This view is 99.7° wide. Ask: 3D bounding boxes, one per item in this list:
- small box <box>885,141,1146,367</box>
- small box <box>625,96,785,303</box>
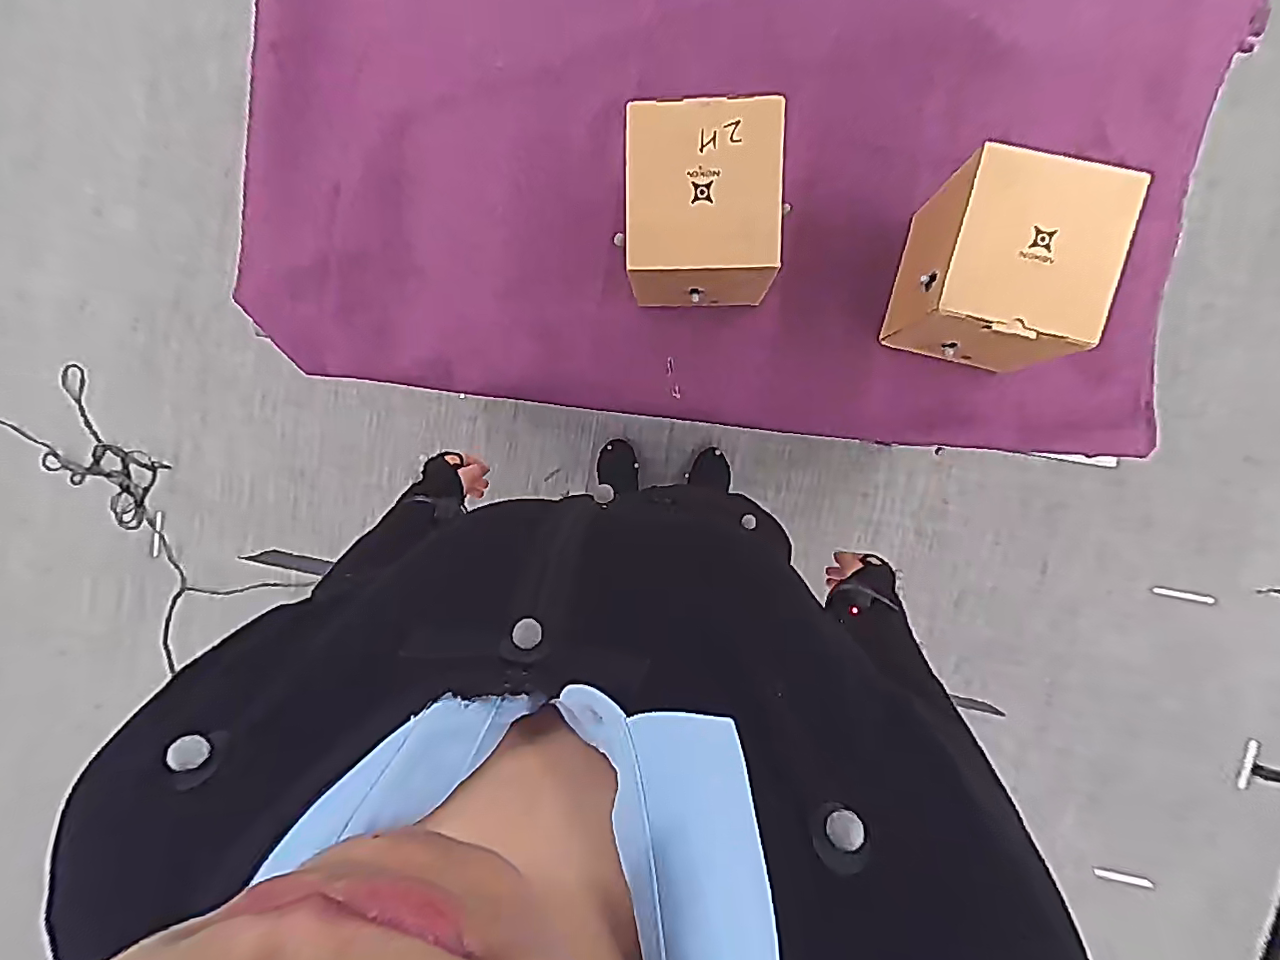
[{"bbox_3d":[0.410,-0.244,0.626,0.168,0.176,0.179,14,94,4],"label":"small box"},{"bbox_3d":[0.073,-0.316,0.647,0.168,0.176,0.179,1,94,4],"label":"small box"}]
